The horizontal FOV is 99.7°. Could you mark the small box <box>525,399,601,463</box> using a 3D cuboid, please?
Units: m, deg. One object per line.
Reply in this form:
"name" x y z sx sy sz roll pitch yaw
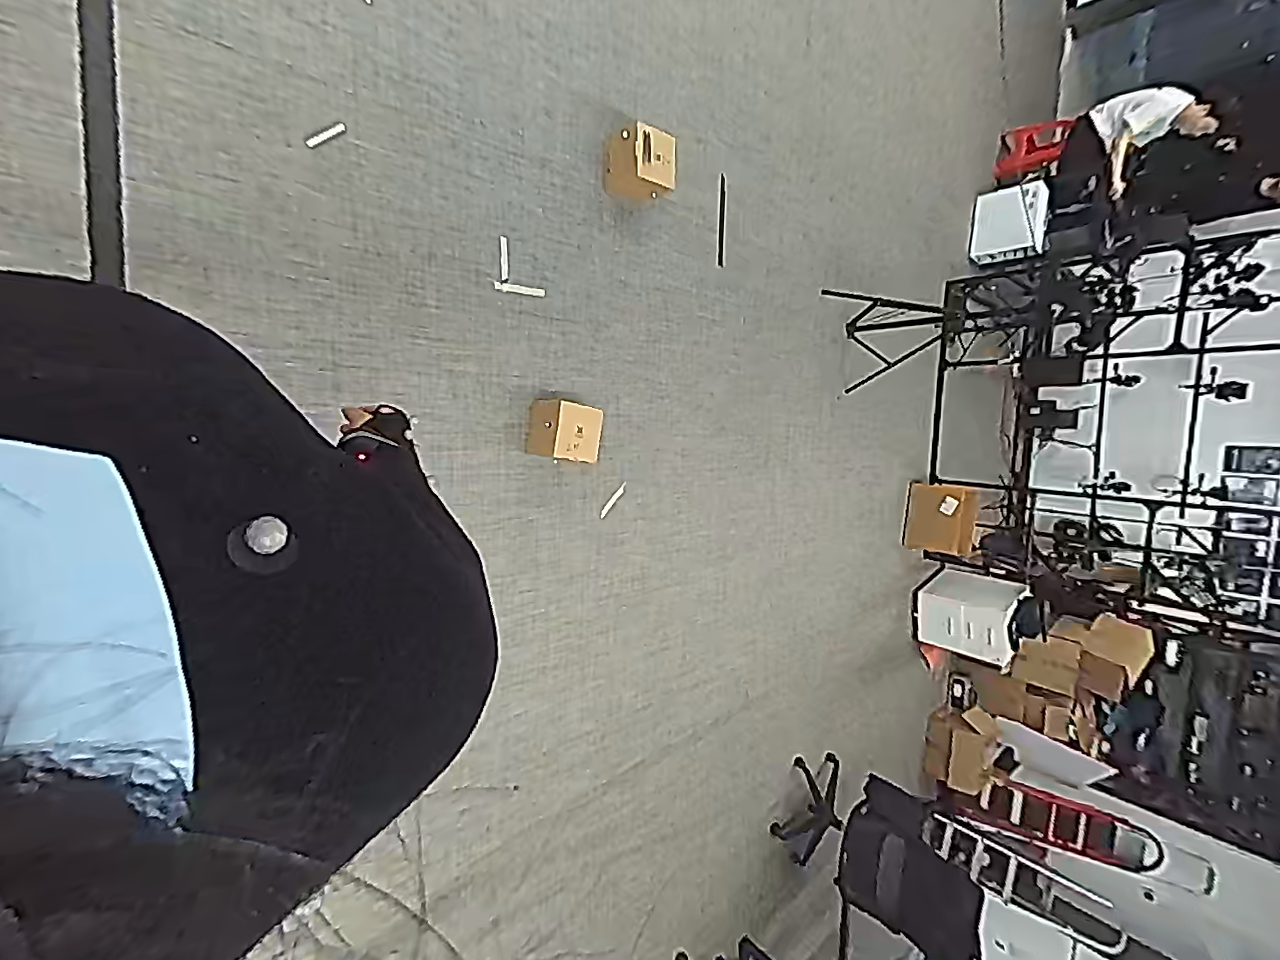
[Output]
"small box" -0.250 -0.156 1.725 0.168 0.176 0.179 9 90 -42
